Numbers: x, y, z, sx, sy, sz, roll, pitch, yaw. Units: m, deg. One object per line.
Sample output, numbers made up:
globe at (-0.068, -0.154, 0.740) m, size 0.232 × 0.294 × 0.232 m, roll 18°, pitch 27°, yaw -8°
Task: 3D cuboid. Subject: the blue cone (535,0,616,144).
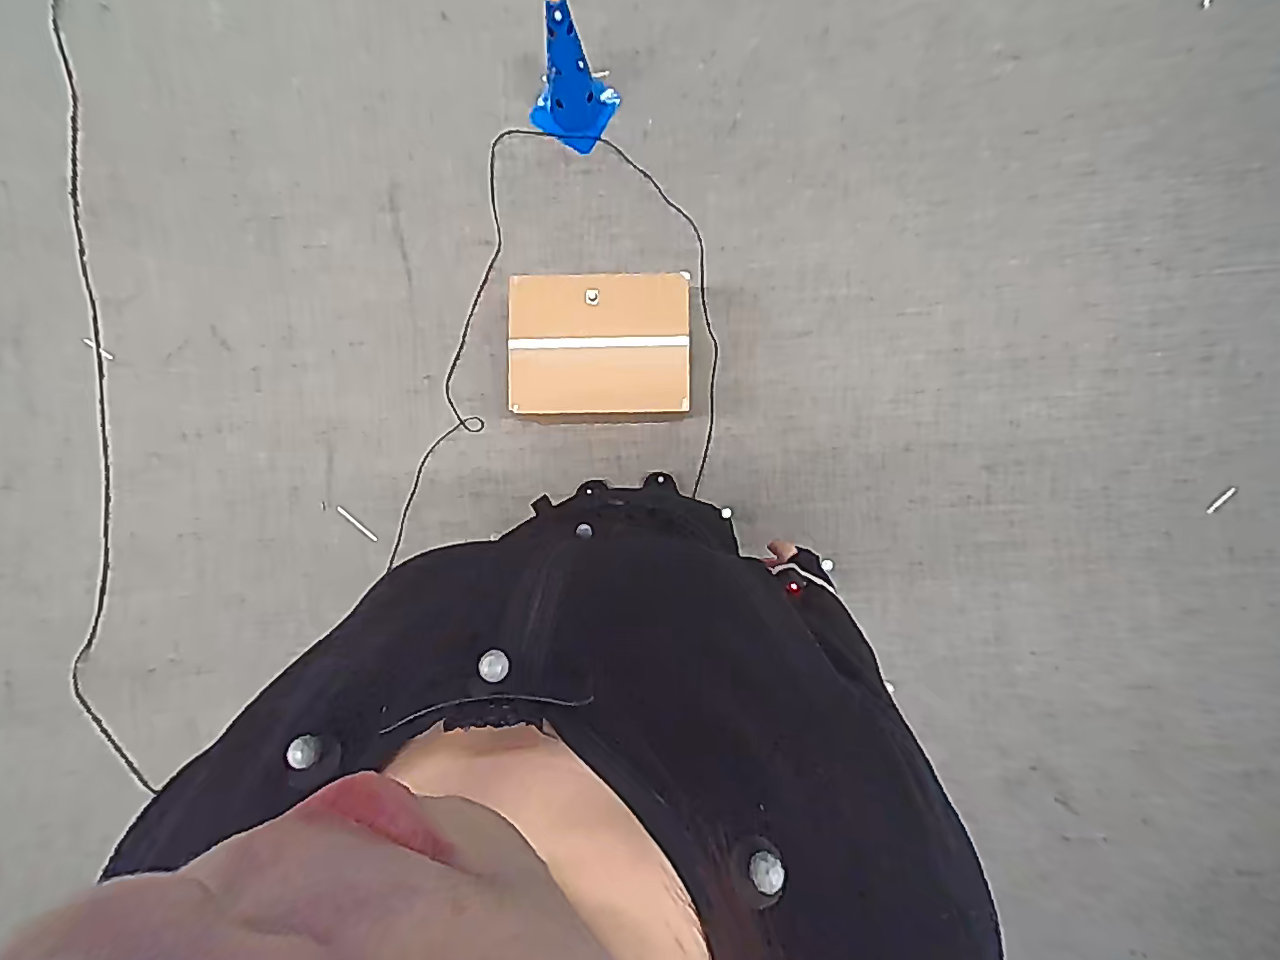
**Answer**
blue cone at (-0.176, -1.041, 1.318) m, size 0.192 × 0.380 × 0.193 m, roll 29°, pitch 89°, yaw -1°
